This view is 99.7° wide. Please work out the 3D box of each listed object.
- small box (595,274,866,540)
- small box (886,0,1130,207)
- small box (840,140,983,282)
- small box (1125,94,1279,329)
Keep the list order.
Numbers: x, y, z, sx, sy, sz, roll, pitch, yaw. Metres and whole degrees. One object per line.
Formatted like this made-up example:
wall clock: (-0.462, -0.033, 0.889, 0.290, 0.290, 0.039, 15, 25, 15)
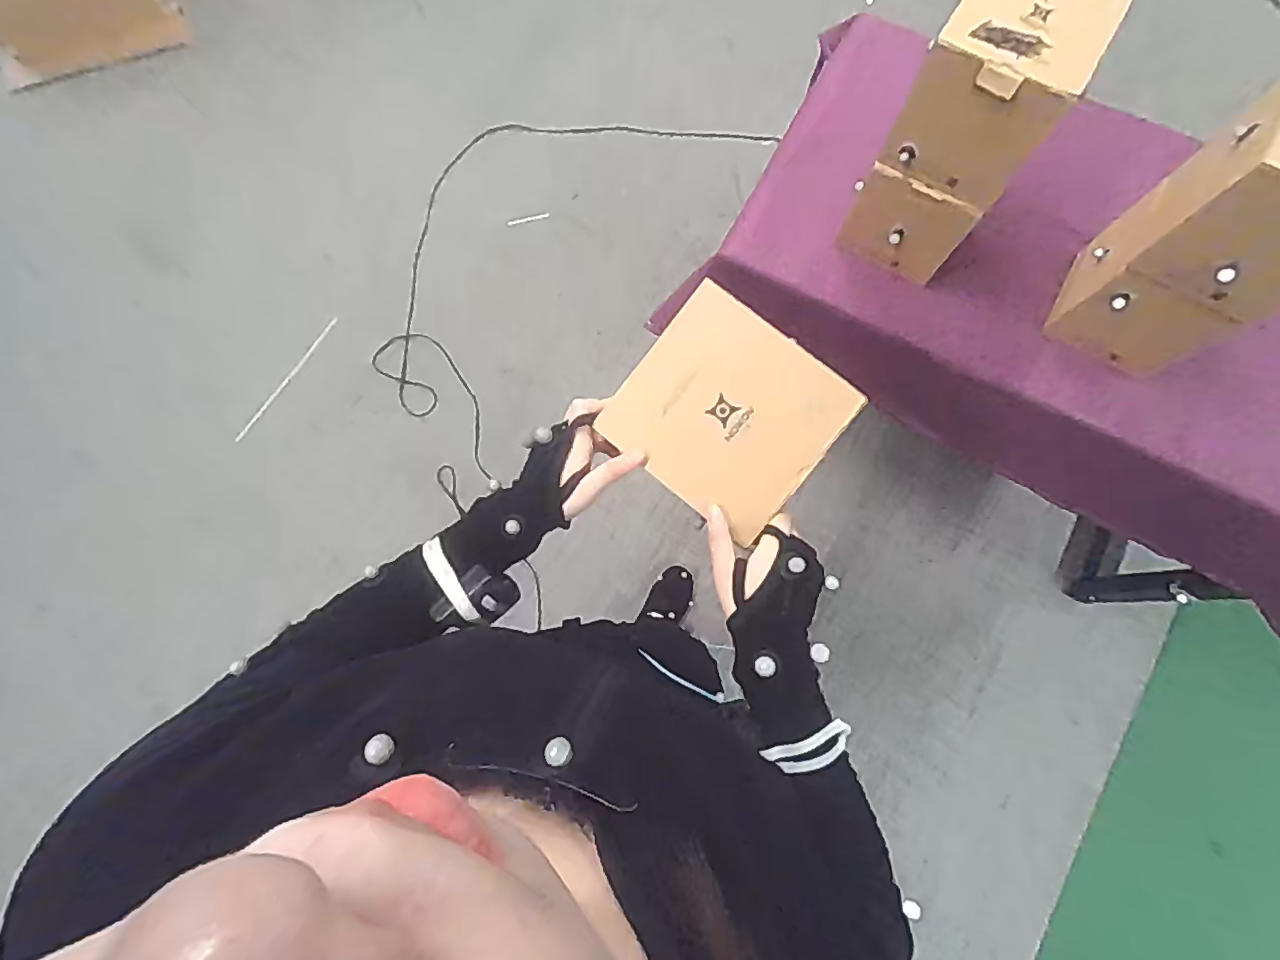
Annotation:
small box: (0.083, -0.064, 0.545, 0.179, 0.176, 0.168, 40, 93, 4)
small box: (0.443, -0.492, 0.685, 0.168, 0.176, 0.179, 32, 78, 7)
small box: (0.438, -0.449, 0.845, 0.168, 0.176, 0.179, 32, 80, 7)
small box: (0.745, -0.319, 0.643, 0.168, 0.176, 0.179, 33, 79, 8)
